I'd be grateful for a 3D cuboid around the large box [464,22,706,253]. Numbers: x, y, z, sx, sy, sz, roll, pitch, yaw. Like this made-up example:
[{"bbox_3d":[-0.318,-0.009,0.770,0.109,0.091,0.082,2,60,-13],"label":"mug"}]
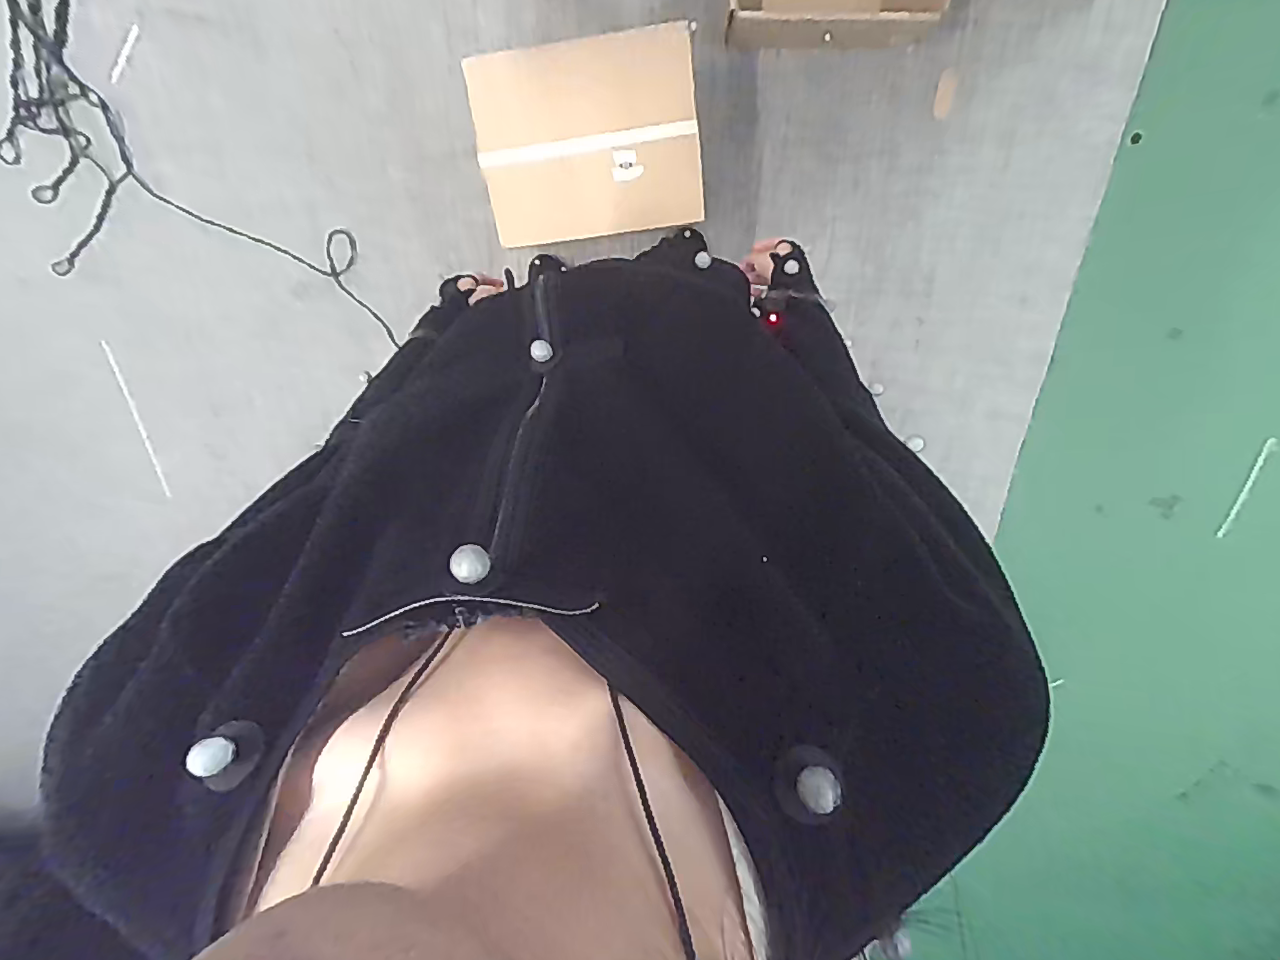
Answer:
[{"bbox_3d":[-0.089,-0.663,1.116,0.408,0.320,0.320,-6,113,4],"label":"large box"}]
